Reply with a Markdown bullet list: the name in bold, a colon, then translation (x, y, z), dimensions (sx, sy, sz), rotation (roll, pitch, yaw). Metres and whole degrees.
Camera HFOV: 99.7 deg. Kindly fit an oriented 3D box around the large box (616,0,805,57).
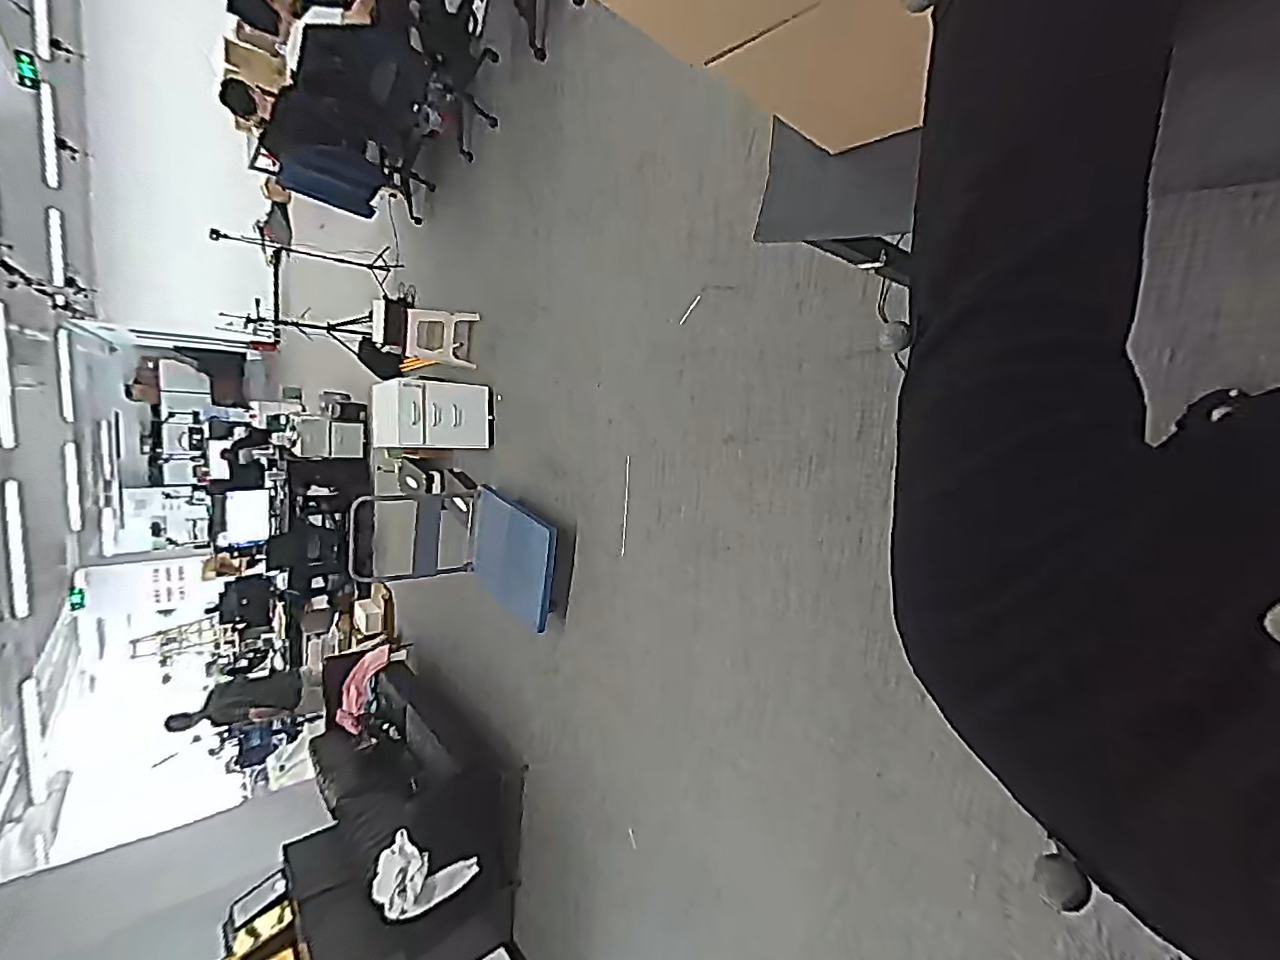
- **large box**: translation (0.105, -0.646, 0.427), dimensions (0.408, 0.320, 0.320), rotation (15, 104, 47)
